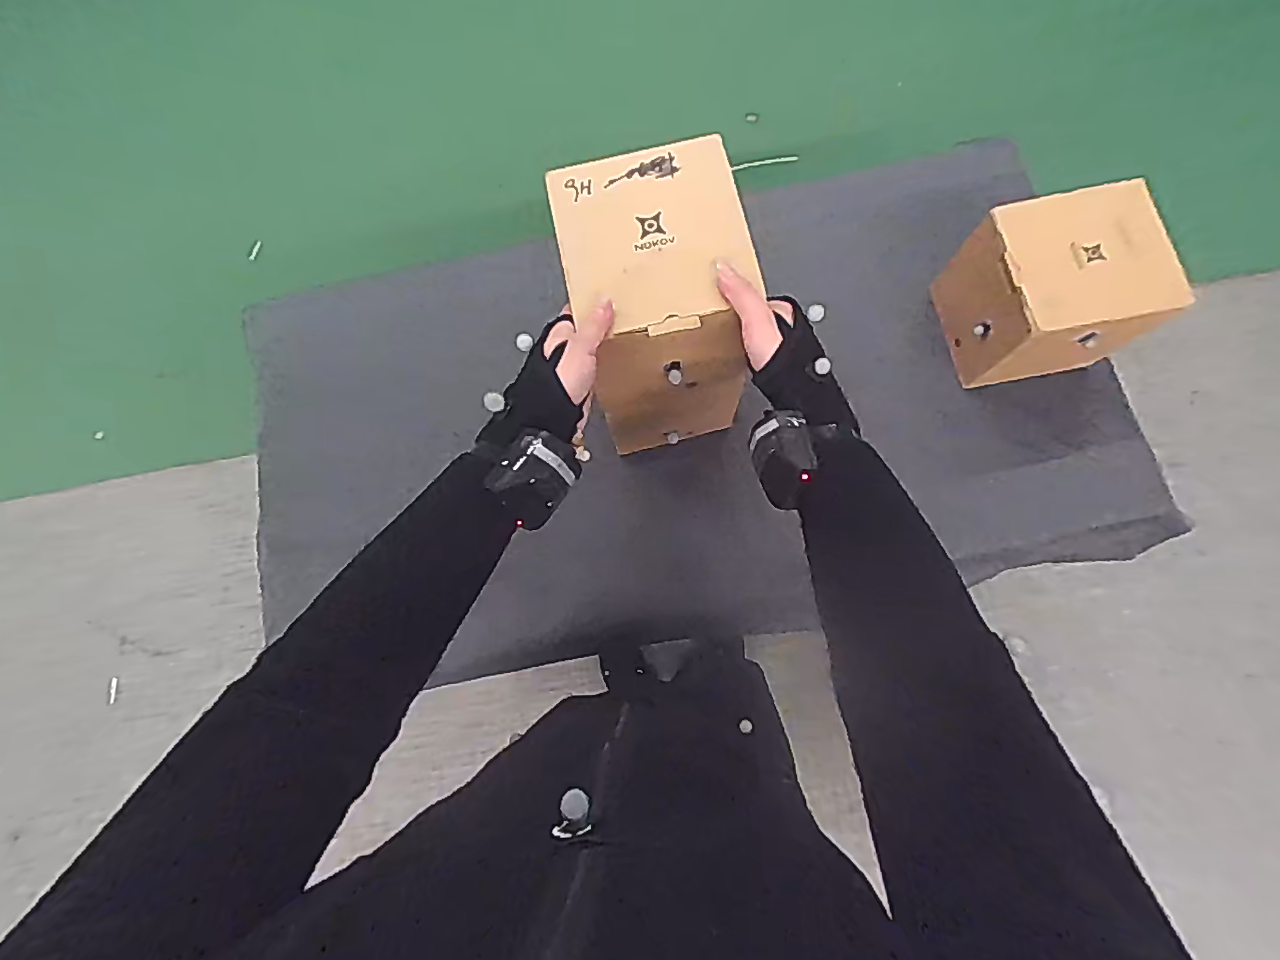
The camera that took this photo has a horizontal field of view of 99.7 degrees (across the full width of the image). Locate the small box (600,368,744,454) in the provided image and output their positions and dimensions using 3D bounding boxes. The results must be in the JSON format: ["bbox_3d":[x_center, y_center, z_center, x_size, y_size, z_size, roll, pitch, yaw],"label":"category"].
[{"bbox_3d":[0.025,-0.152,0.706,0.168,0.176,0.179,-15,77,1],"label":"small box"}]

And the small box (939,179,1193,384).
[{"bbox_3d":[0.510,-0.237,0.687,0.179,0.176,0.168,-11,77,1],"label":"small box"}]

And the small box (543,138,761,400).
[{"bbox_3d":[0.014,-0.193,0.549,0.168,0.176,0.179,-13,77,1],"label":"small box"}]
